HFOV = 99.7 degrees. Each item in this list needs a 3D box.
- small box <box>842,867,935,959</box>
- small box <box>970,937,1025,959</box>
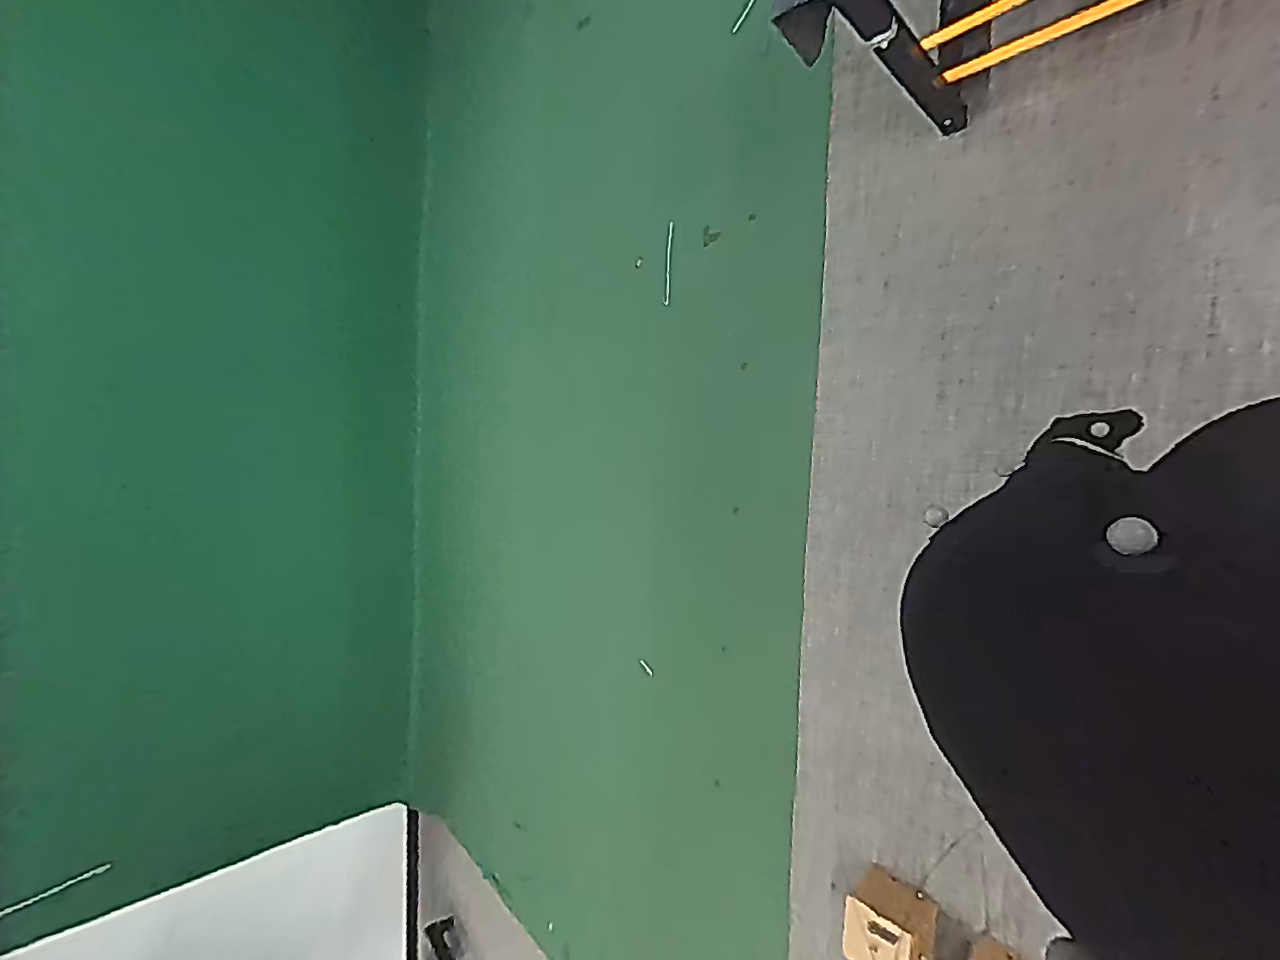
[{"bbox_3d":[0.652,1.170,1.413,0.168,0.176,0.179,8,97,47],"label":"small box"},{"bbox_3d":[0.834,1.207,1.218,0.168,0.176,0.179,9,96,47],"label":"small box"}]
